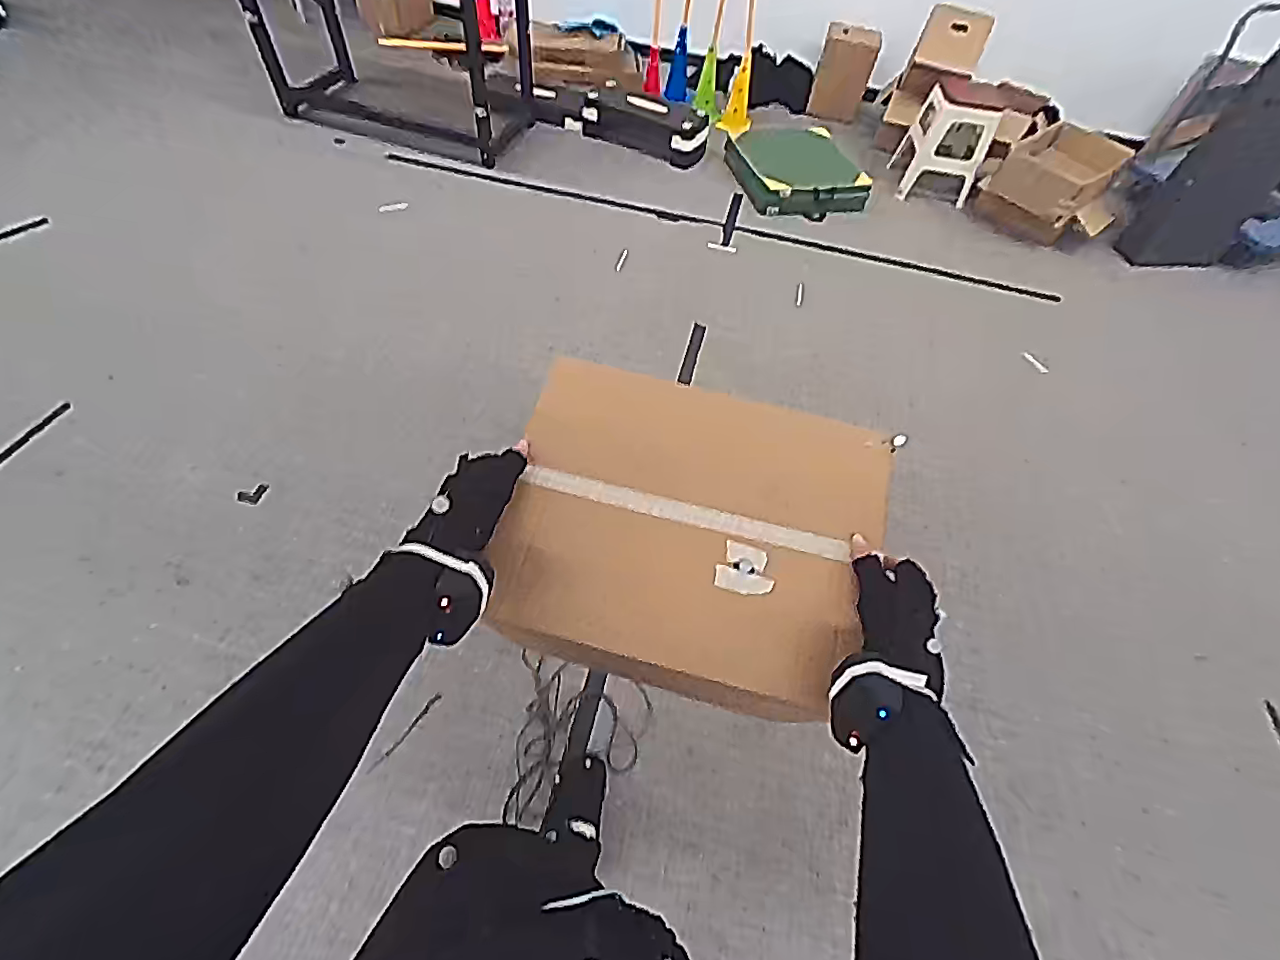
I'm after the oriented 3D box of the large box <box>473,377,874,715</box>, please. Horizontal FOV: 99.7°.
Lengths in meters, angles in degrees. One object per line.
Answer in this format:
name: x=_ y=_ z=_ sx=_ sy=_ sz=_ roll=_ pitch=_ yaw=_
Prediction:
large box: x=0.047 y=0.109 z=0.736 sx=0.408 sy=0.320 sz=0.320 roll=14 pitch=67 yaw=4
